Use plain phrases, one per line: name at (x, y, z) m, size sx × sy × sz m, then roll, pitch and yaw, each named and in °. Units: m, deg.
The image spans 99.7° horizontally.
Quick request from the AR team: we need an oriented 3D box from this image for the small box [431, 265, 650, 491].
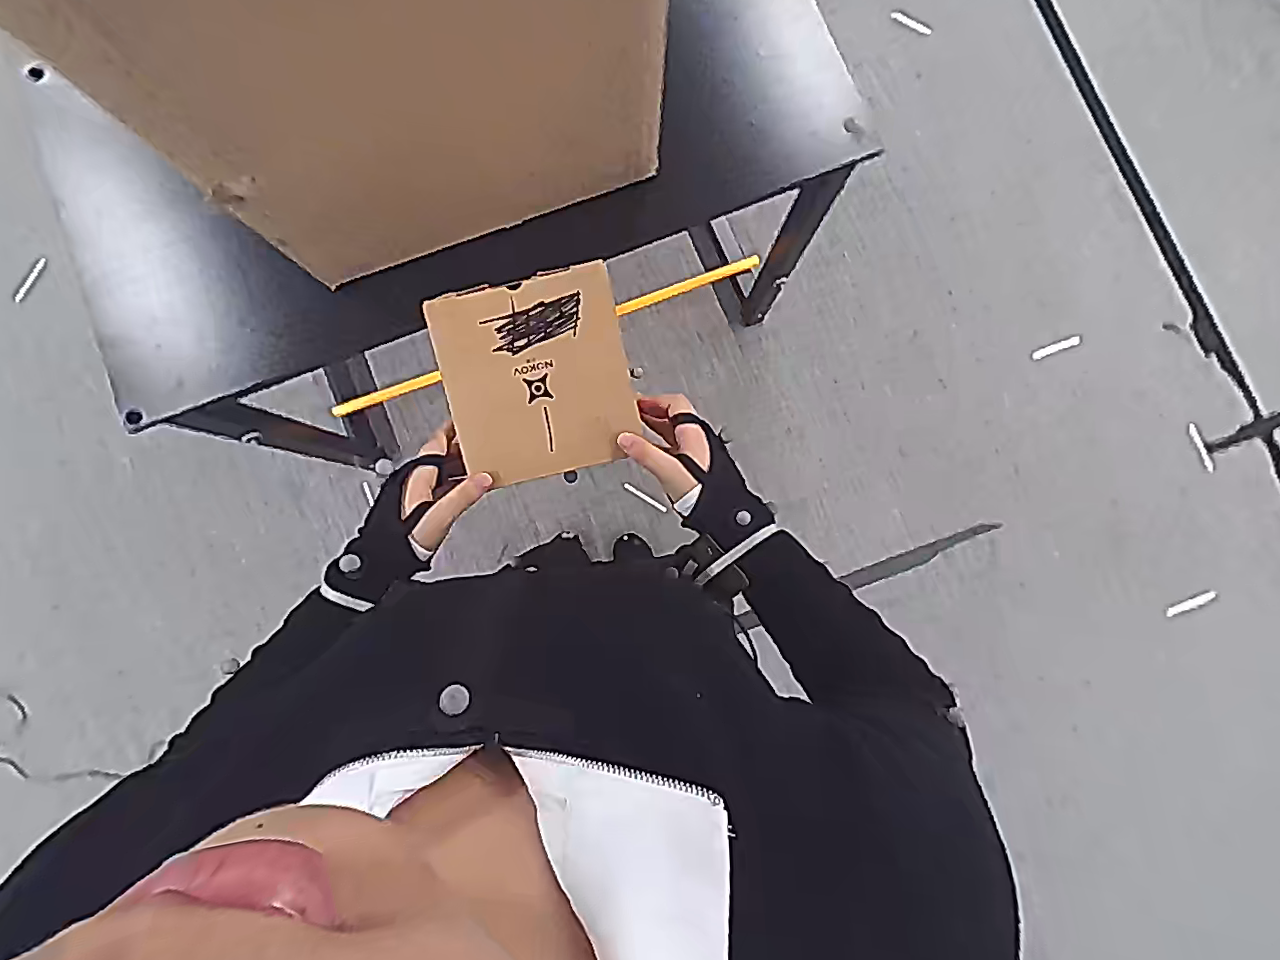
small box at (-0.090, -0.095, 0.559) m, size 0.168 × 0.176 × 0.179 m, roll -12°, pitch 95°, yaw 0°
